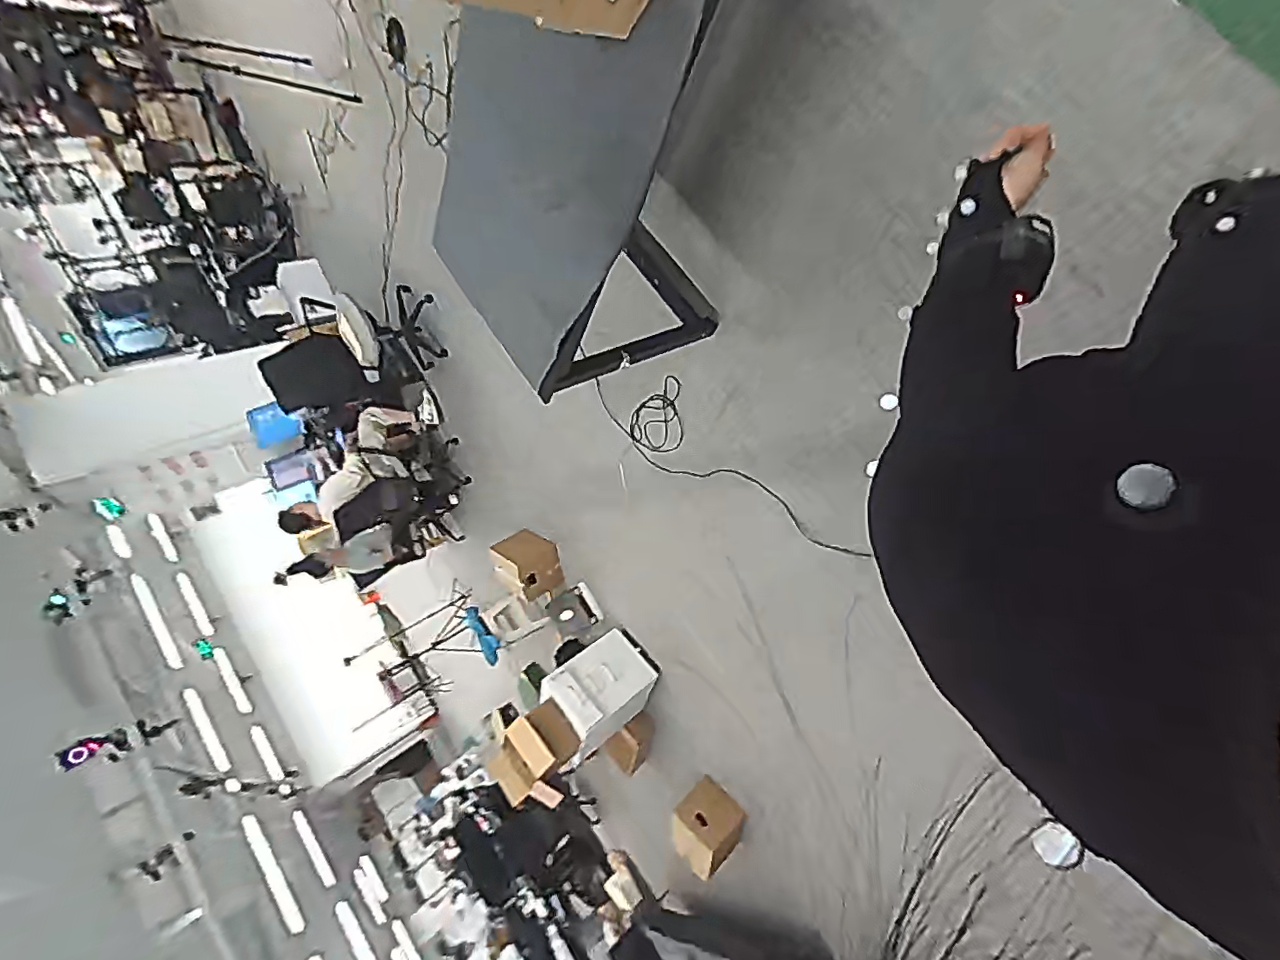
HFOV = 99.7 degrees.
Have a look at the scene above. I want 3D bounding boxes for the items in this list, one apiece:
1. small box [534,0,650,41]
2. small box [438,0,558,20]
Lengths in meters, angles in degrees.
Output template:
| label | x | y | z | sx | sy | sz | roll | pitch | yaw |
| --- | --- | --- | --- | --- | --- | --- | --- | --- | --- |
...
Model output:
| label | x | y | z | sx | sy | sz | roll | pitch | yaw |
| --- | --- | --- | --- | --- | --- | --- | --- | --- | --- |
| small box | -0.072 | -0.771 | 0.768 | 0.168 | 0.176 | 0.179 | -17 | 96 | 55 |
| small box | -0.180 | -0.712 | 0.660 | 0.168 | 0.176 | 0.179 | -26 | 89 | 55 |
